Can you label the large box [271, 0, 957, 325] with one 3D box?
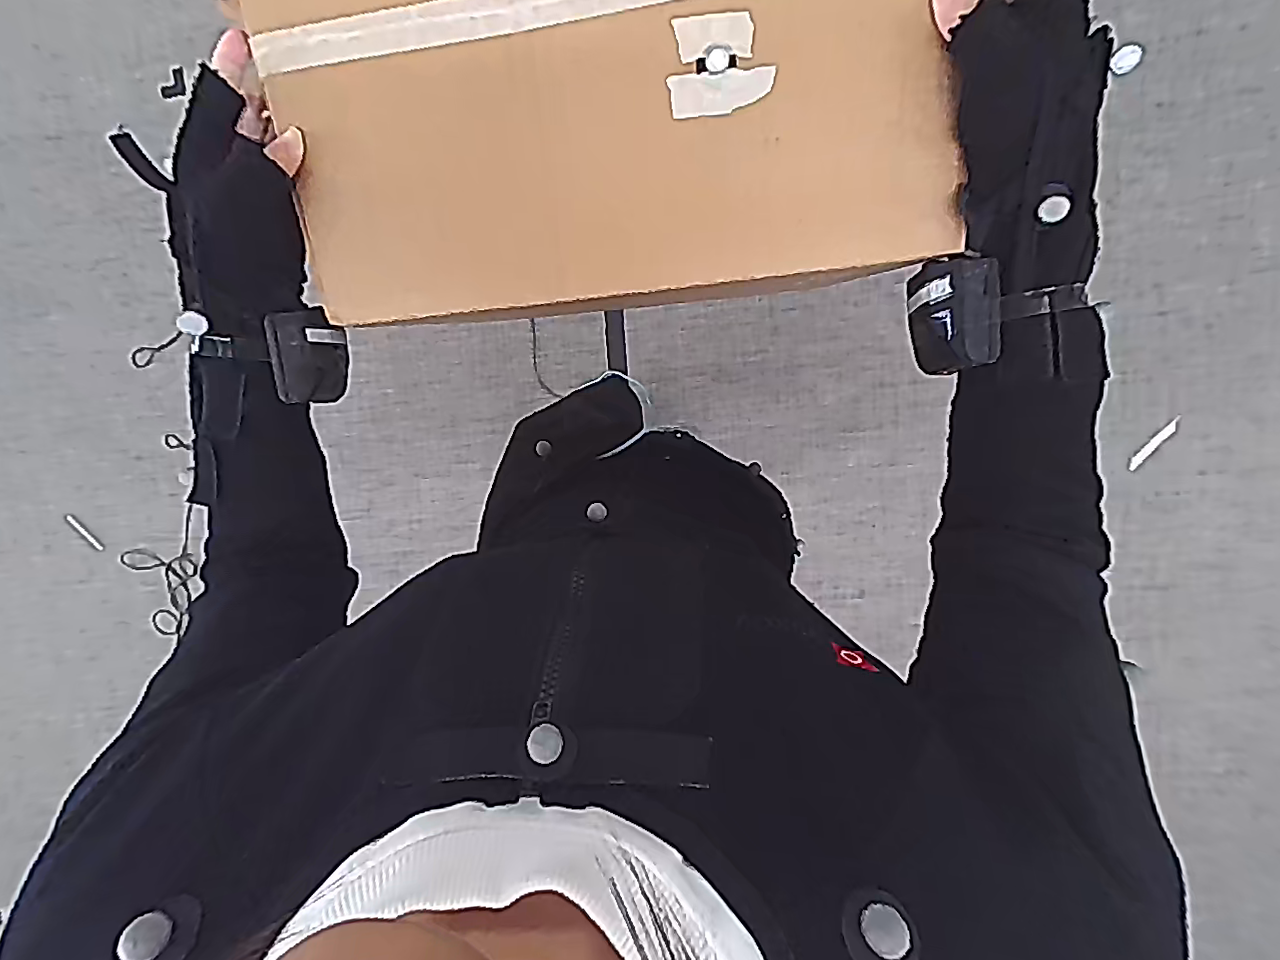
[{"bbox_3d":[-0.013,-0.316,0.456,0.408,0.320,0.320,-5,107,6],"label":"large box"}]
